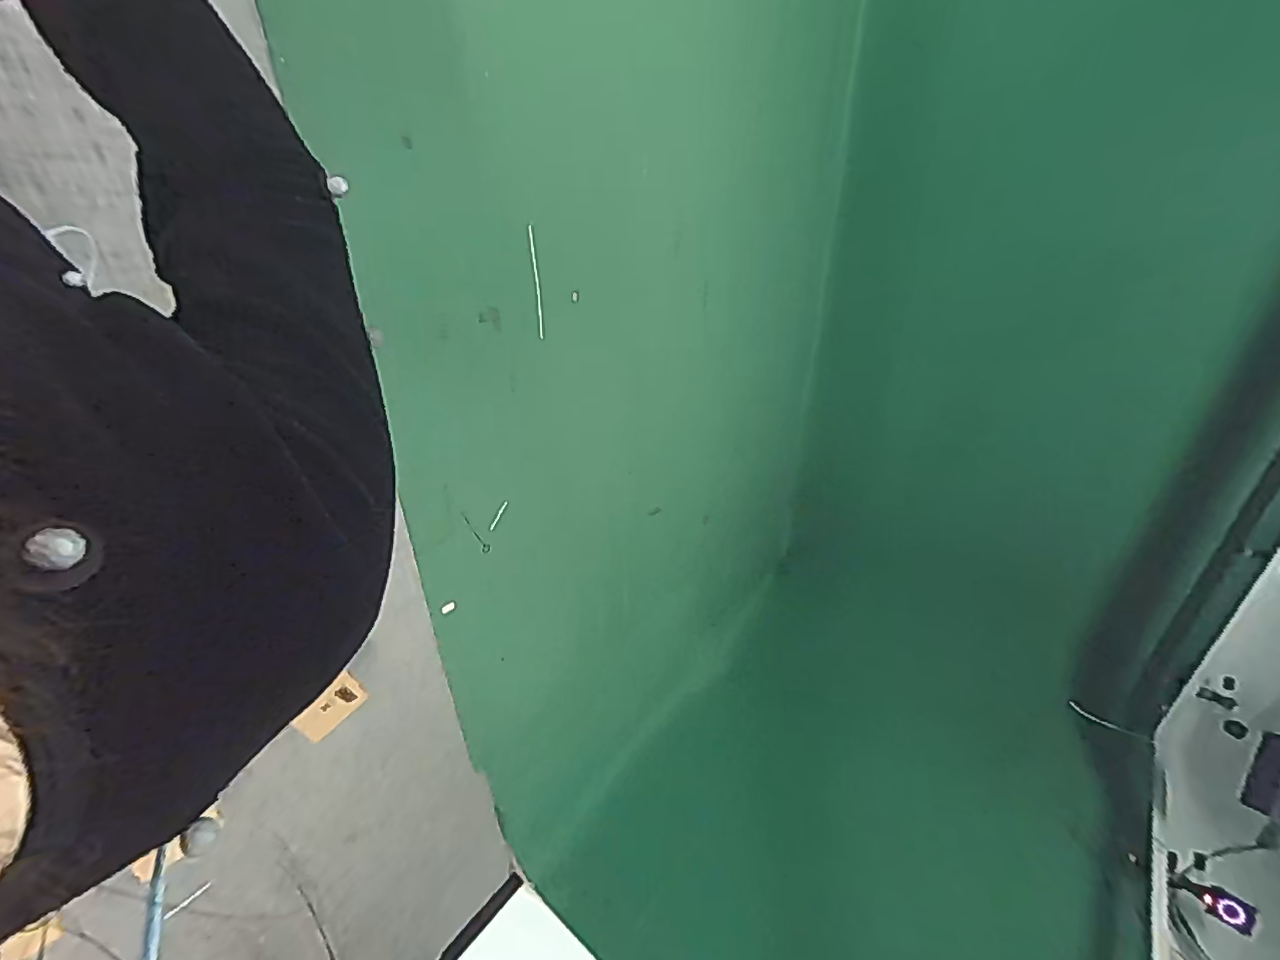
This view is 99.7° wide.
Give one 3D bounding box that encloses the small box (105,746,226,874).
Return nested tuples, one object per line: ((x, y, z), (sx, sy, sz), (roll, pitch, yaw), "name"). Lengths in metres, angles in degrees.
((-1.192, 0.818, 1.357), (0.179, 0.176, 0.168), (-31, 131, -42), "small box")

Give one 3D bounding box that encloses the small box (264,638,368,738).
((-0.943, 0.599, 1.577), (0.179, 0.176, 0.168), (-42, 137, -33), "small box")
